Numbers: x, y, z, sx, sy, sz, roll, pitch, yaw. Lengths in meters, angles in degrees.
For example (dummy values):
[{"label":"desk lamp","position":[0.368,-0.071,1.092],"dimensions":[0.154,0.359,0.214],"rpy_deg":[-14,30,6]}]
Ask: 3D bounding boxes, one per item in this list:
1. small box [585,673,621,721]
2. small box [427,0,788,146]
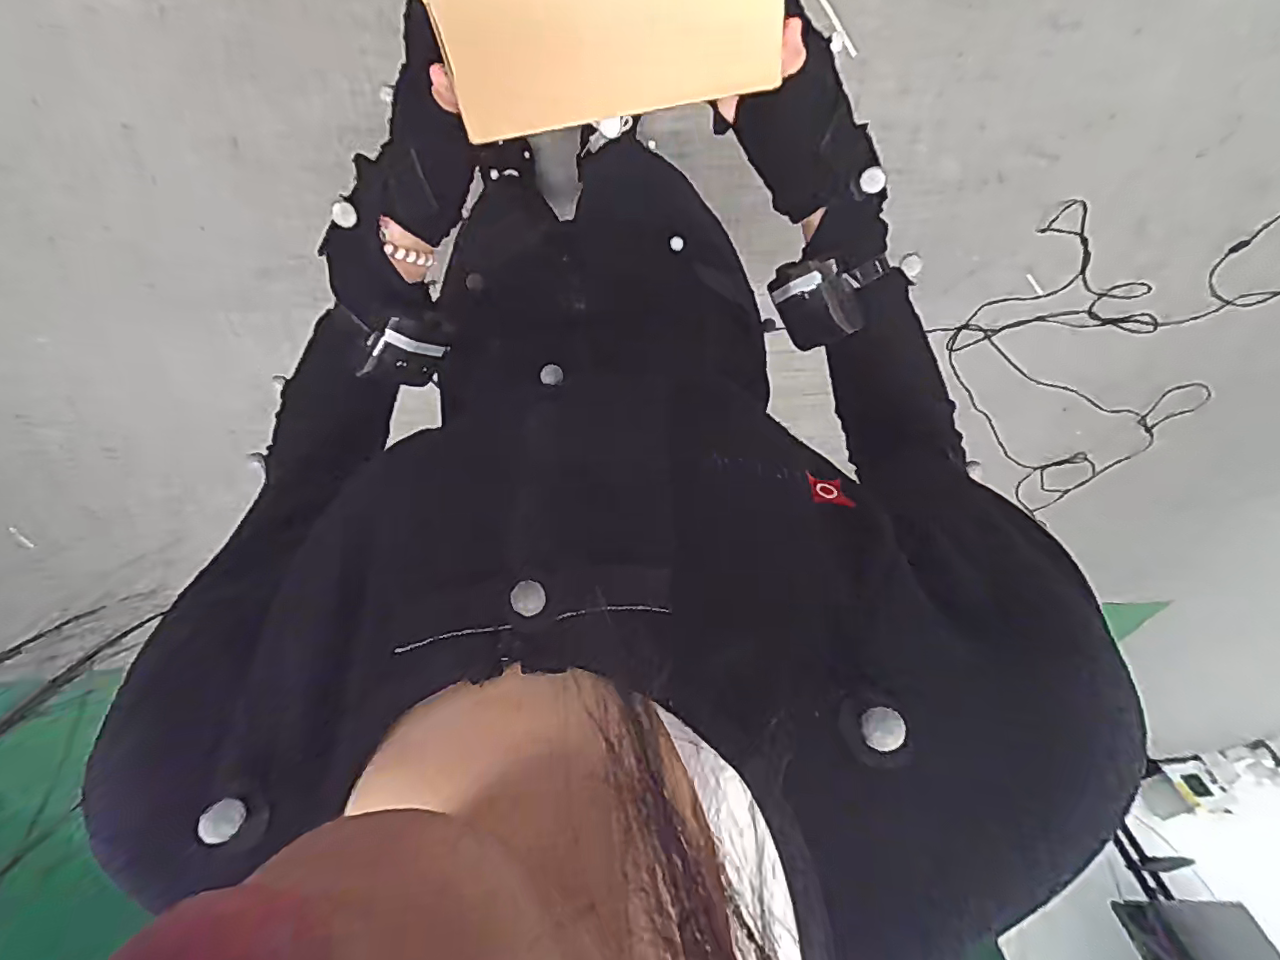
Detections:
[{"label":"small box","position":[-0.193,1.122,2.796],"dimensions":[0.179,0.176,0.168],"rpy_deg":[-6,134,-3]},{"label":"small box","position":[-0.026,-0.310,0.292],"dimensions":[0.179,0.176,0.168],"rpy_deg":[-9,136,3]}]
